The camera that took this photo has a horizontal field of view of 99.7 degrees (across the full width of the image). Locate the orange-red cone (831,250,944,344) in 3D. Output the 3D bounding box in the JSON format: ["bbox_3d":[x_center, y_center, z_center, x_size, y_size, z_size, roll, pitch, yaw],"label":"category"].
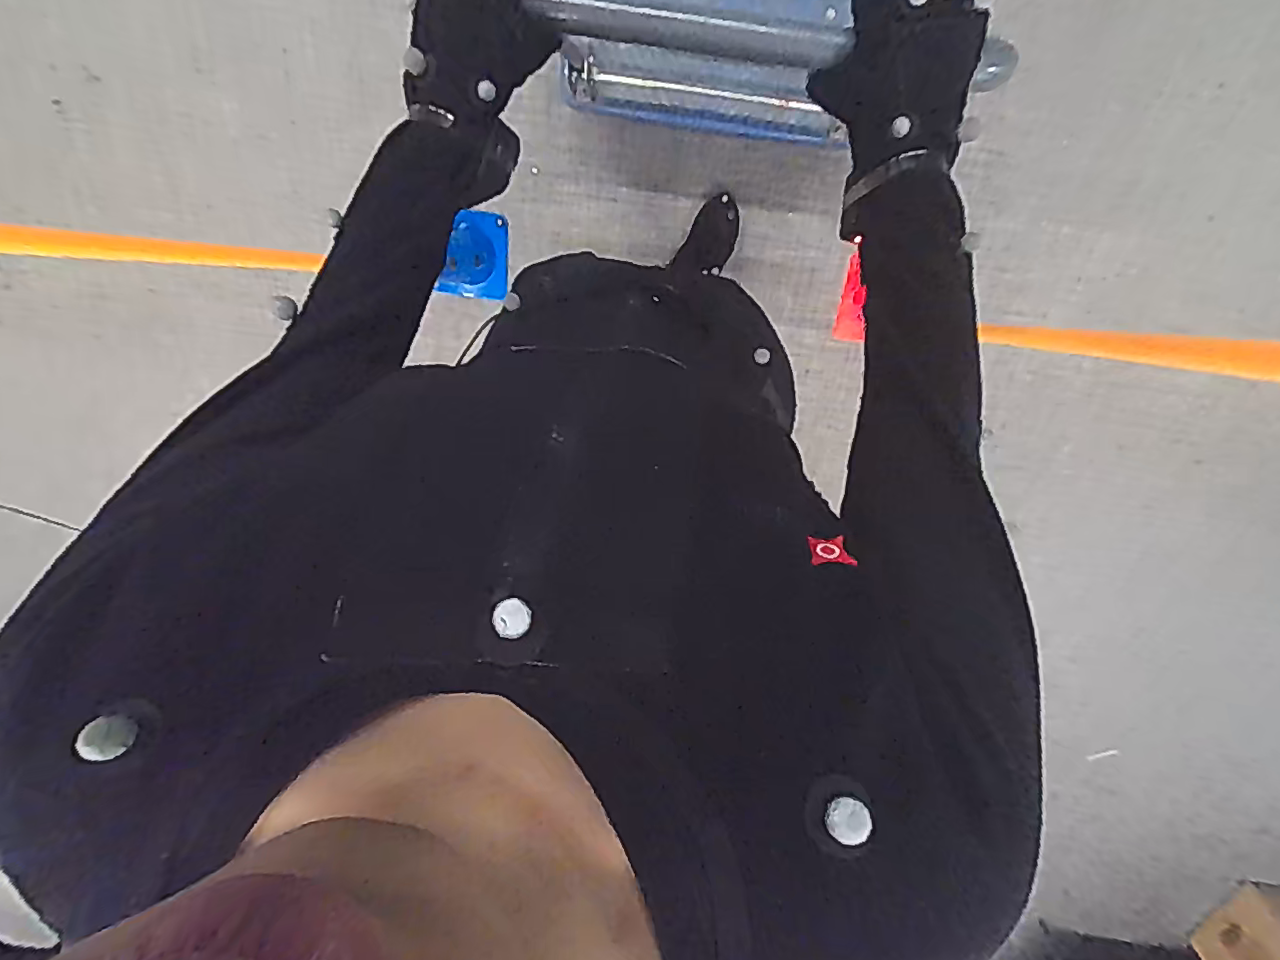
[{"bbox_3d":[0.549,-0.357,1.130,0.199,0.360,0.198,9,116,4],"label":"orange-red cone"}]
